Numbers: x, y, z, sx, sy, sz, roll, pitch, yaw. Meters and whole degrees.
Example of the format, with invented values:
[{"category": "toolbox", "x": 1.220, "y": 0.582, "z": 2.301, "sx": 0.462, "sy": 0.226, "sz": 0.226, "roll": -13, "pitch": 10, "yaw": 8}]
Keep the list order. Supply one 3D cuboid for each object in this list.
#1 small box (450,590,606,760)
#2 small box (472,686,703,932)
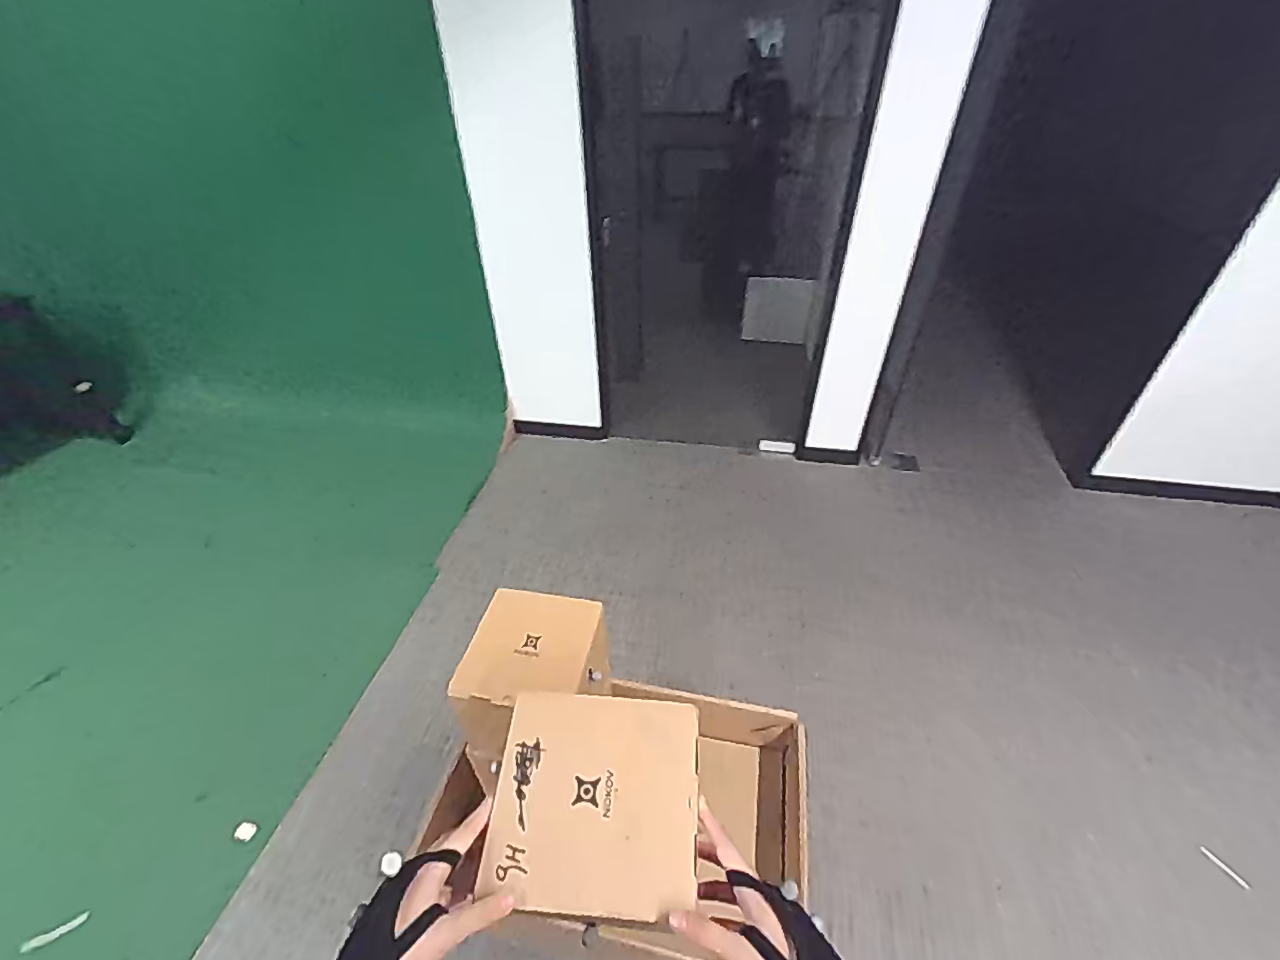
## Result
[{"category": "small box", "x": -0.147, "y": 0.289, "z": 0.785, "sx": 0.168, "sy": 0.176, "sz": 0.179, "roll": 6, "pitch": 39, "yaw": 9}, {"category": "small box", "x": -0.037, "y": 0.319, "z": 0.520, "sx": 0.179, "sy": 0.176, "sz": 0.168, "roll": 5, "pitch": 48, "yaw": 3}]
